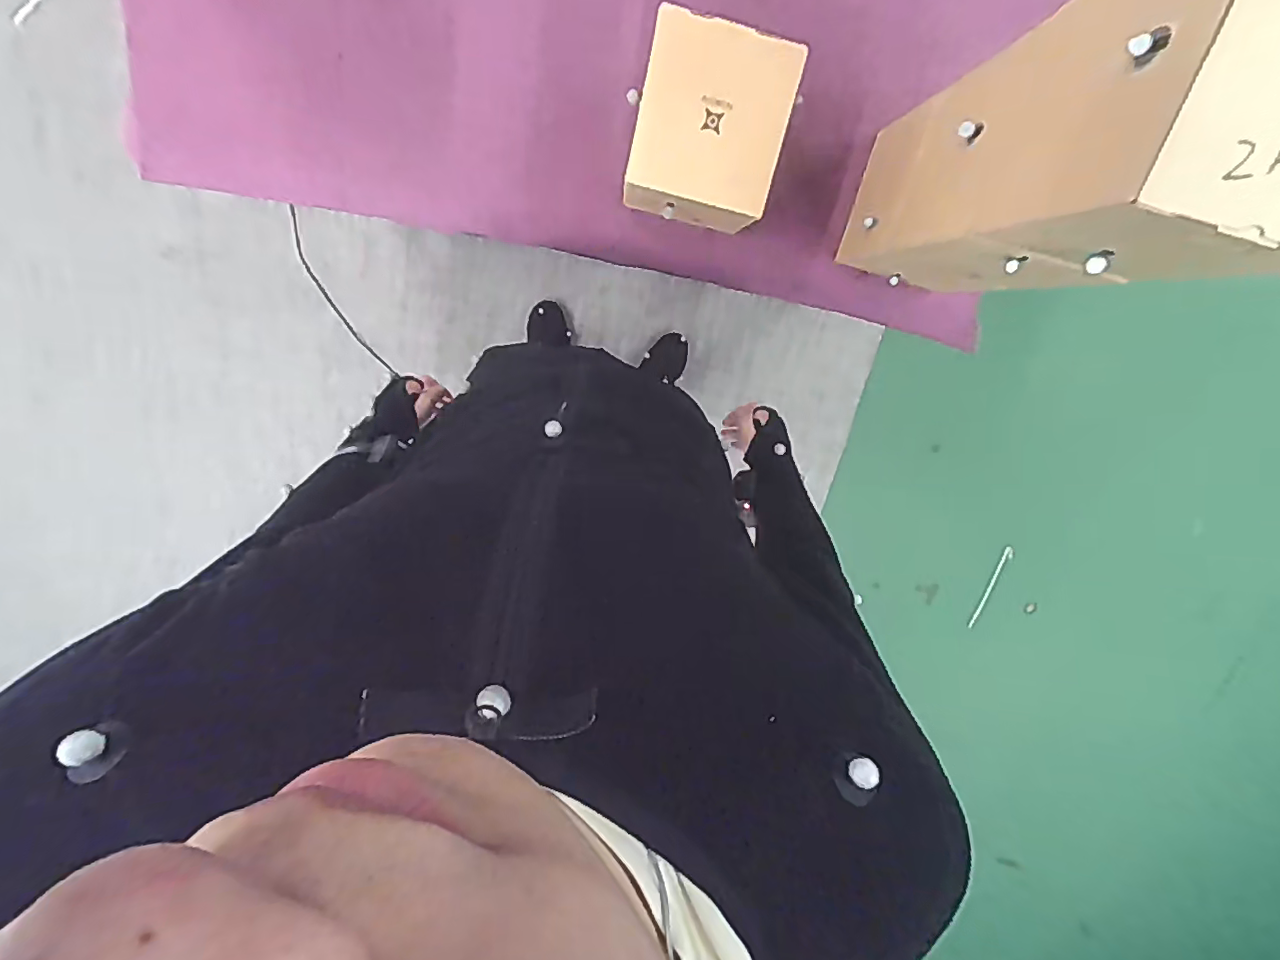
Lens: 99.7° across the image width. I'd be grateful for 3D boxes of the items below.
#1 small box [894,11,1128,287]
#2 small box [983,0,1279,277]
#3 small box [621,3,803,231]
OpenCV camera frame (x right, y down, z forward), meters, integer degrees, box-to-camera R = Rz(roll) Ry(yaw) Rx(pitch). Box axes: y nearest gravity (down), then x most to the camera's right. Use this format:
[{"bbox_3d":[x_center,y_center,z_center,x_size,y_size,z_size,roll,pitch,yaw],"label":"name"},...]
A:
[{"bbox_3d":[0.391,-0.306,0.546,0.168,0.176,0.179,14,107,-5],"label":"small box"},{"bbox_3d":[0.395,-0.257,0.388,0.168,0.176,0.179,13,108,-5],"label":"small box"},{"bbox_3d":[0.076,-0.426,0.672,0.168,0.176,0.179,12,107,-6],"label":"small box"}]
